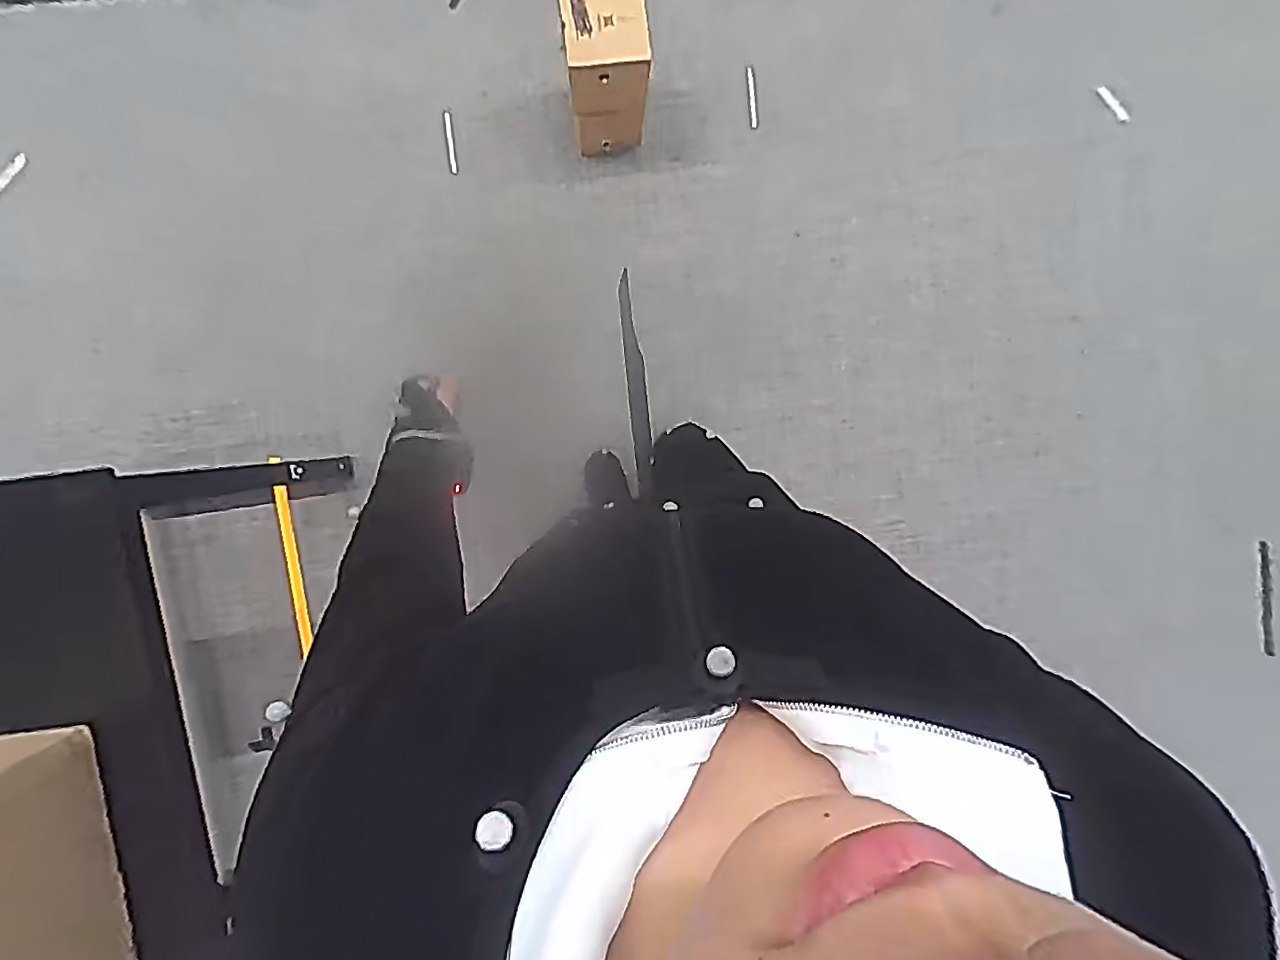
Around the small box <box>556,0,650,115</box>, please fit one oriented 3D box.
[{"bbox_3d":[-0.077,-0.924,1.169,0.179,0.176,0.168,-8,95,-3],"label":"small box"}]

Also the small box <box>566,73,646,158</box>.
[{"bbox_3d":[-0.086,-0.936,1.333,0.168,0.176,0.179,-12,96,-2],"label":"small box"}]
